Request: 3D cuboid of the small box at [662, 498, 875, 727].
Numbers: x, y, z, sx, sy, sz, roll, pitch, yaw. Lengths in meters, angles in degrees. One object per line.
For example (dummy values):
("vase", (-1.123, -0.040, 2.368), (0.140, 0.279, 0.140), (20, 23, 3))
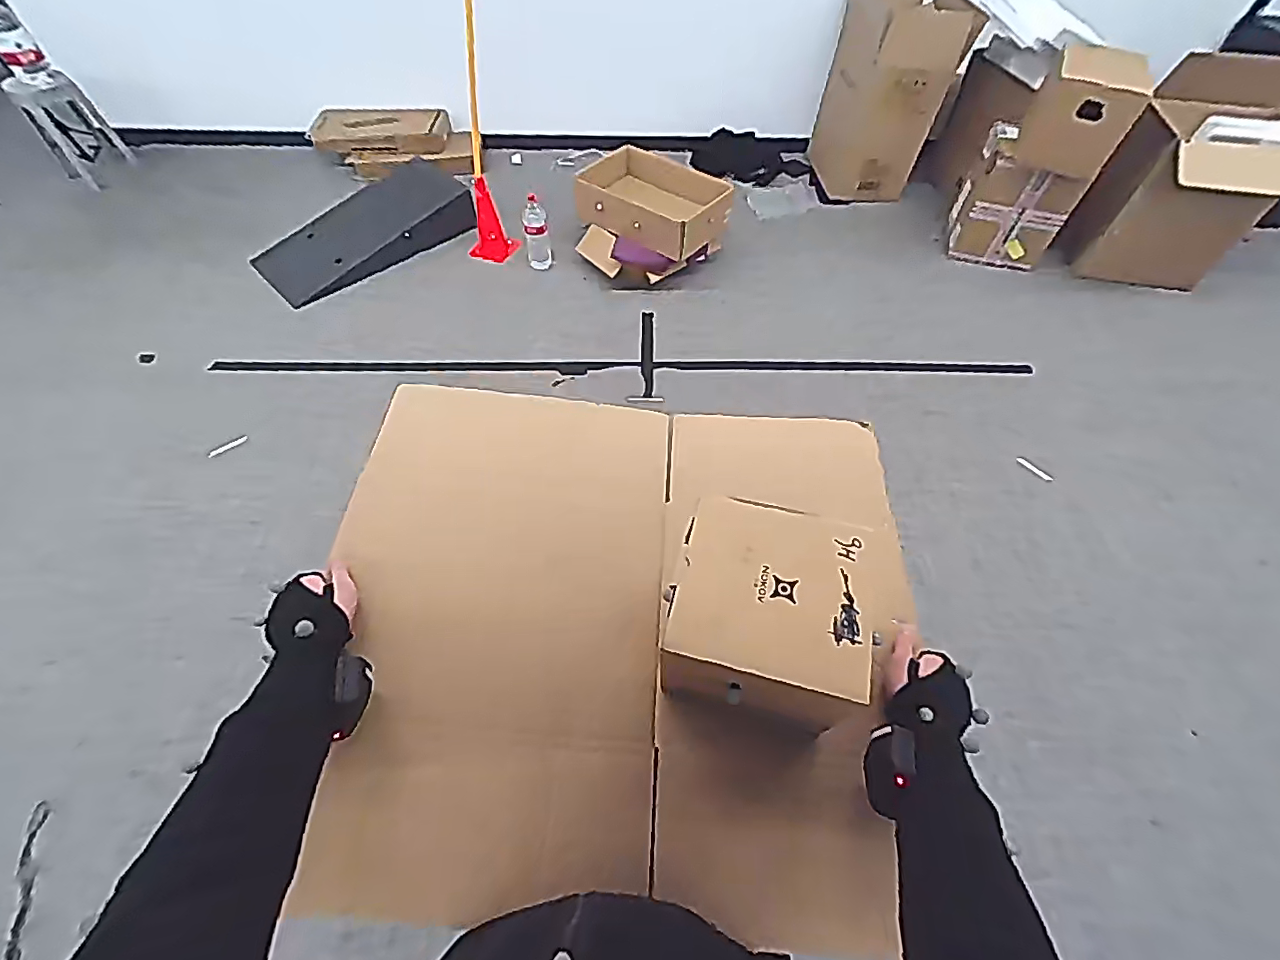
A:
("small box", (0.129, 0.144, 0.566), (0.179, 0.176, 0.168), (11, 59, 11))
